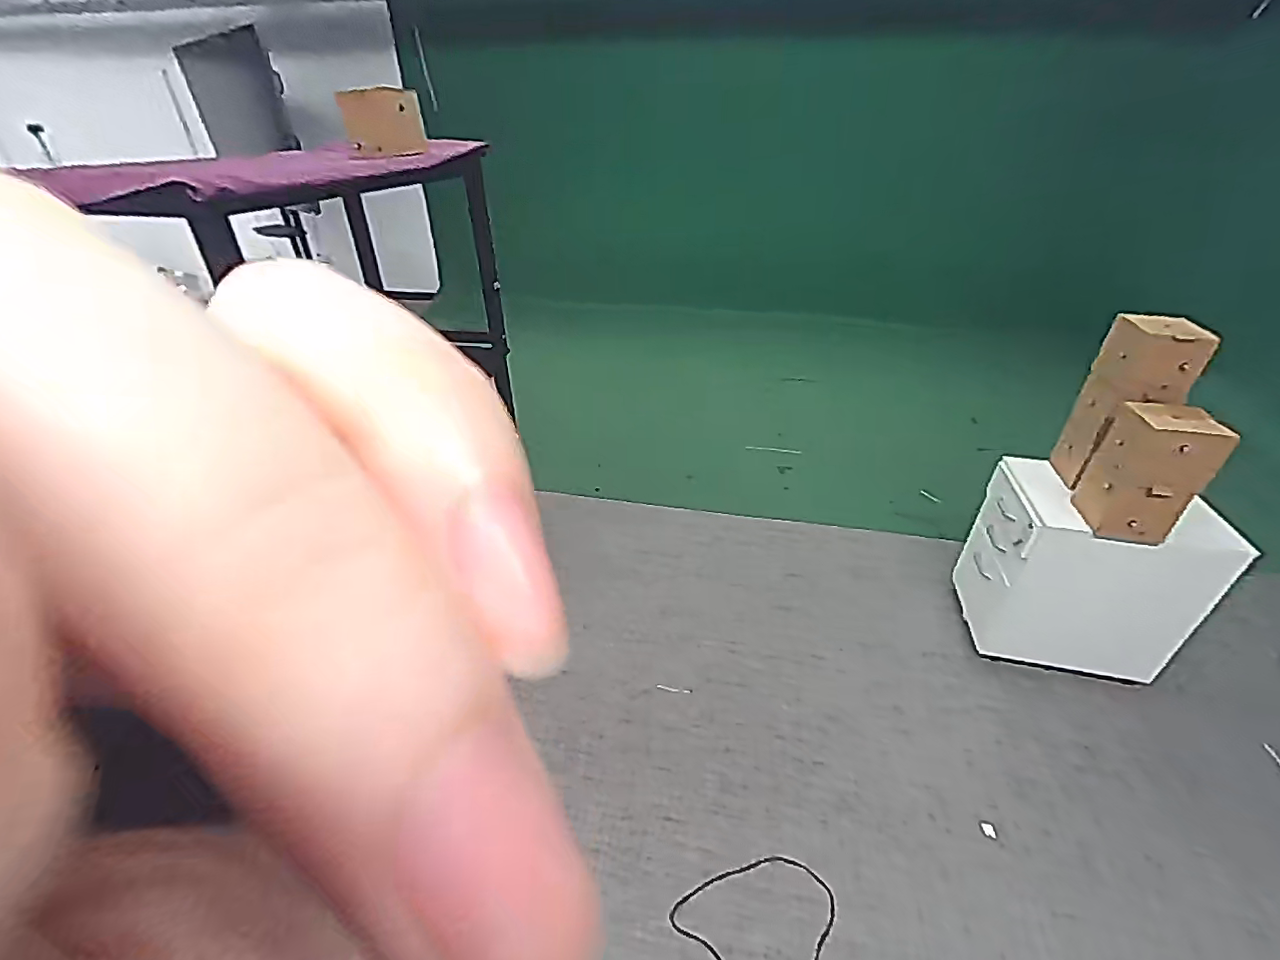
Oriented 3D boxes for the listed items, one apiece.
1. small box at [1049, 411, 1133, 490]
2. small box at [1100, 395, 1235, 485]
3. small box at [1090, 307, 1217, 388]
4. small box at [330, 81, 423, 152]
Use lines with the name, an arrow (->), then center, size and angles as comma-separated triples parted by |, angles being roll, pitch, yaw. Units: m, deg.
small box -> 1.419, -0.094, 1.680 | 0.168, 0.176, 0.179 | 7, 36, 11
small box -> 1.348, -0.105, 1.403 | 0.179, 0.176, 0.168 | 9, 35, 12
small box -> 1.408, -0.367, 1.497 | 0.168, 0.176, 0.179 | 9, 35, 11
small box -> -0.790, -1.102, 1.645 | 0.168, 0.176, 0.179 | 5, 35, 12
